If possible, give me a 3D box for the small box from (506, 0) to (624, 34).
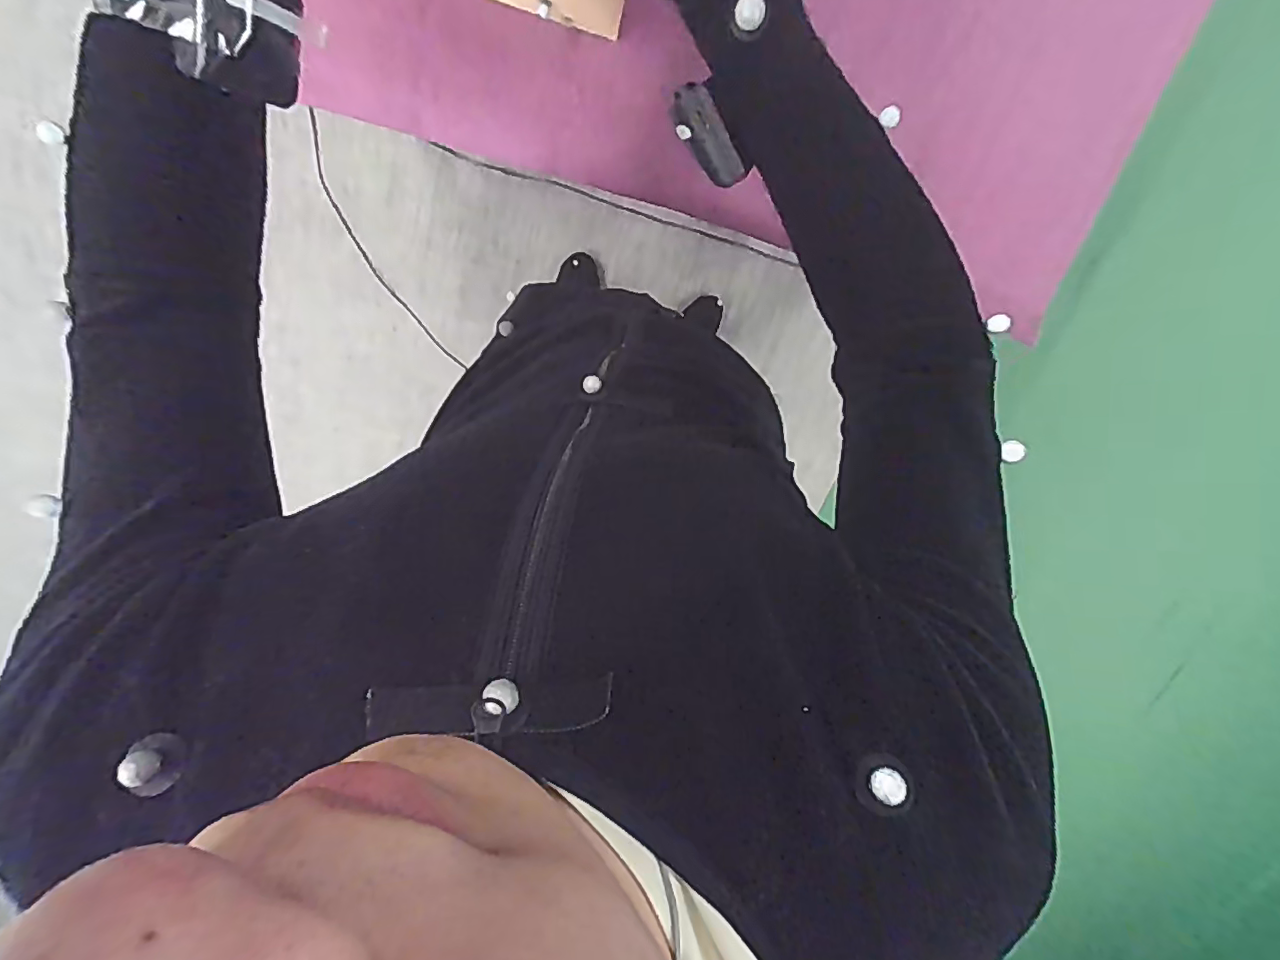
[{"bbox_3d":[-0.082,-0.613,0.555,0.168,0.176,0.179,13,112,-8],"label":"small box"}]
